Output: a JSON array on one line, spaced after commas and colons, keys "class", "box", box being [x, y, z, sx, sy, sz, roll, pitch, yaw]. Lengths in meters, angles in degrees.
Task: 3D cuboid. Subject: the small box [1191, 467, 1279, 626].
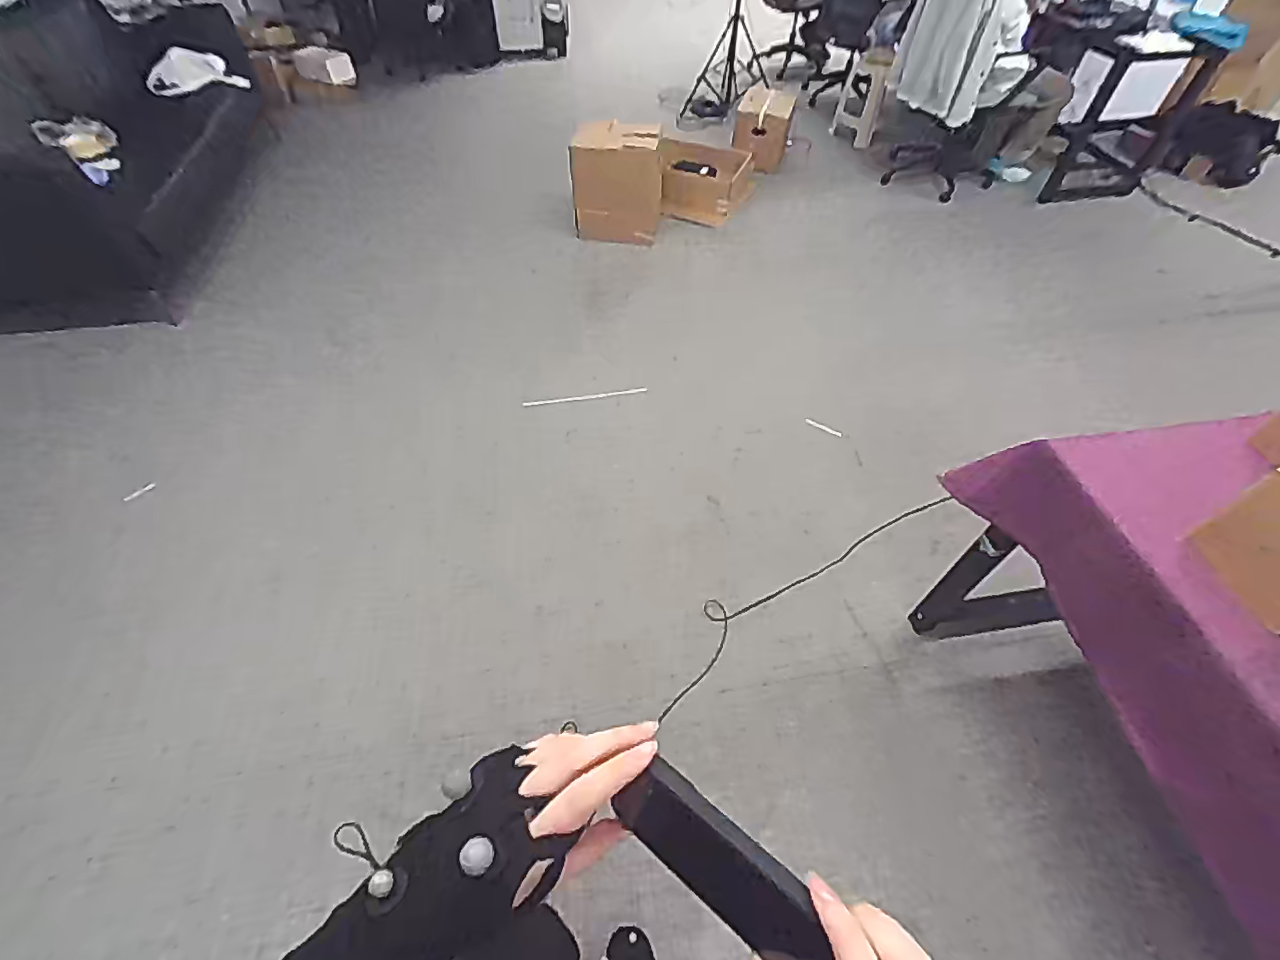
[{"class": "small box", "box": [0.972, 0.092, 0.768, 0.168, 0.176, 0.179, -5, 53, -5]}]
